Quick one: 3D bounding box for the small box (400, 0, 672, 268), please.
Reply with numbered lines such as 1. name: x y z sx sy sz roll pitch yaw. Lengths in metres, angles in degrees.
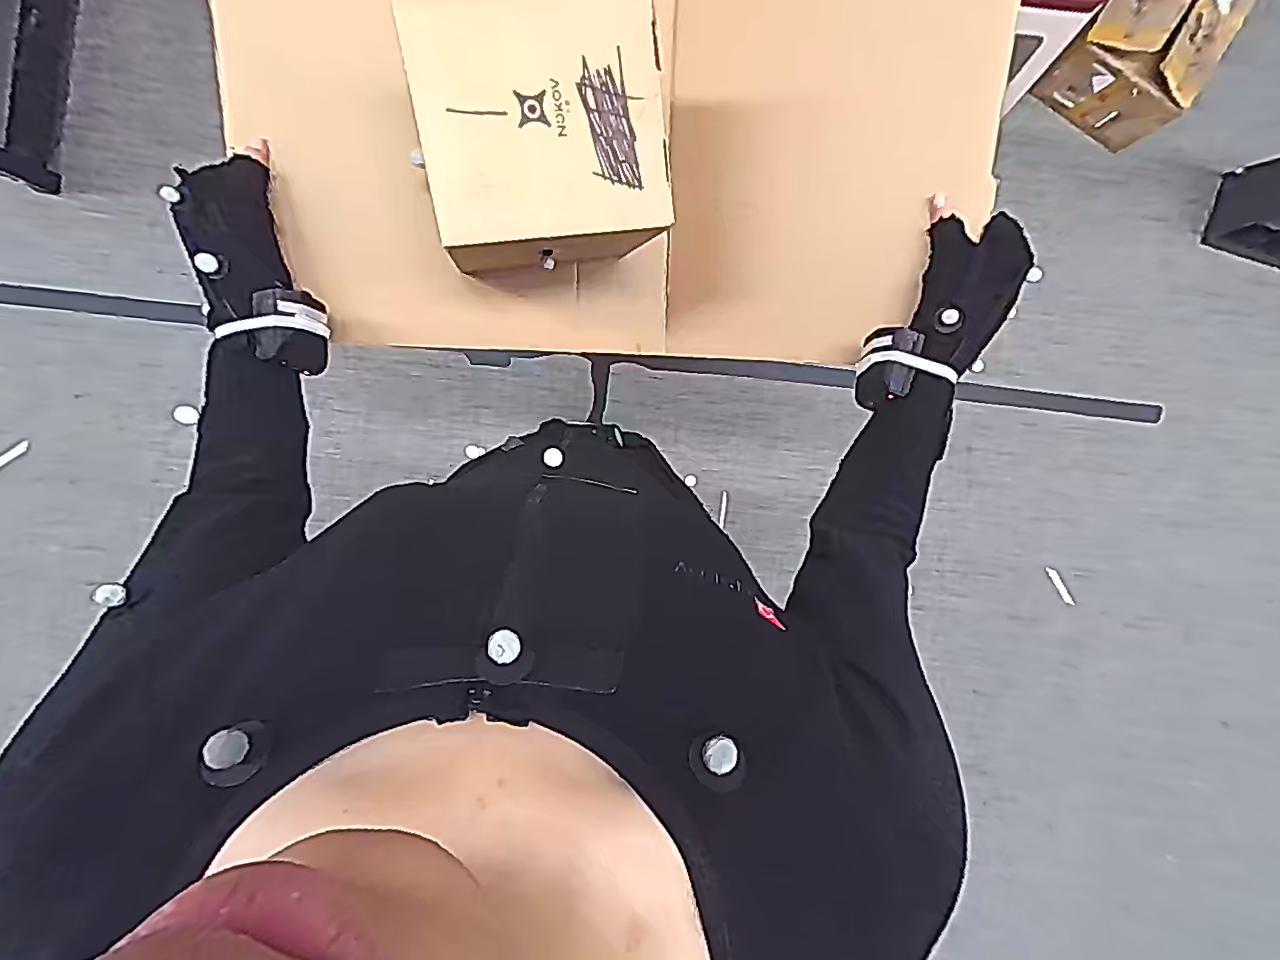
1. small box: -0.085 -0.282 0.463 0.179 0.176 0.168 -10 107 -11
